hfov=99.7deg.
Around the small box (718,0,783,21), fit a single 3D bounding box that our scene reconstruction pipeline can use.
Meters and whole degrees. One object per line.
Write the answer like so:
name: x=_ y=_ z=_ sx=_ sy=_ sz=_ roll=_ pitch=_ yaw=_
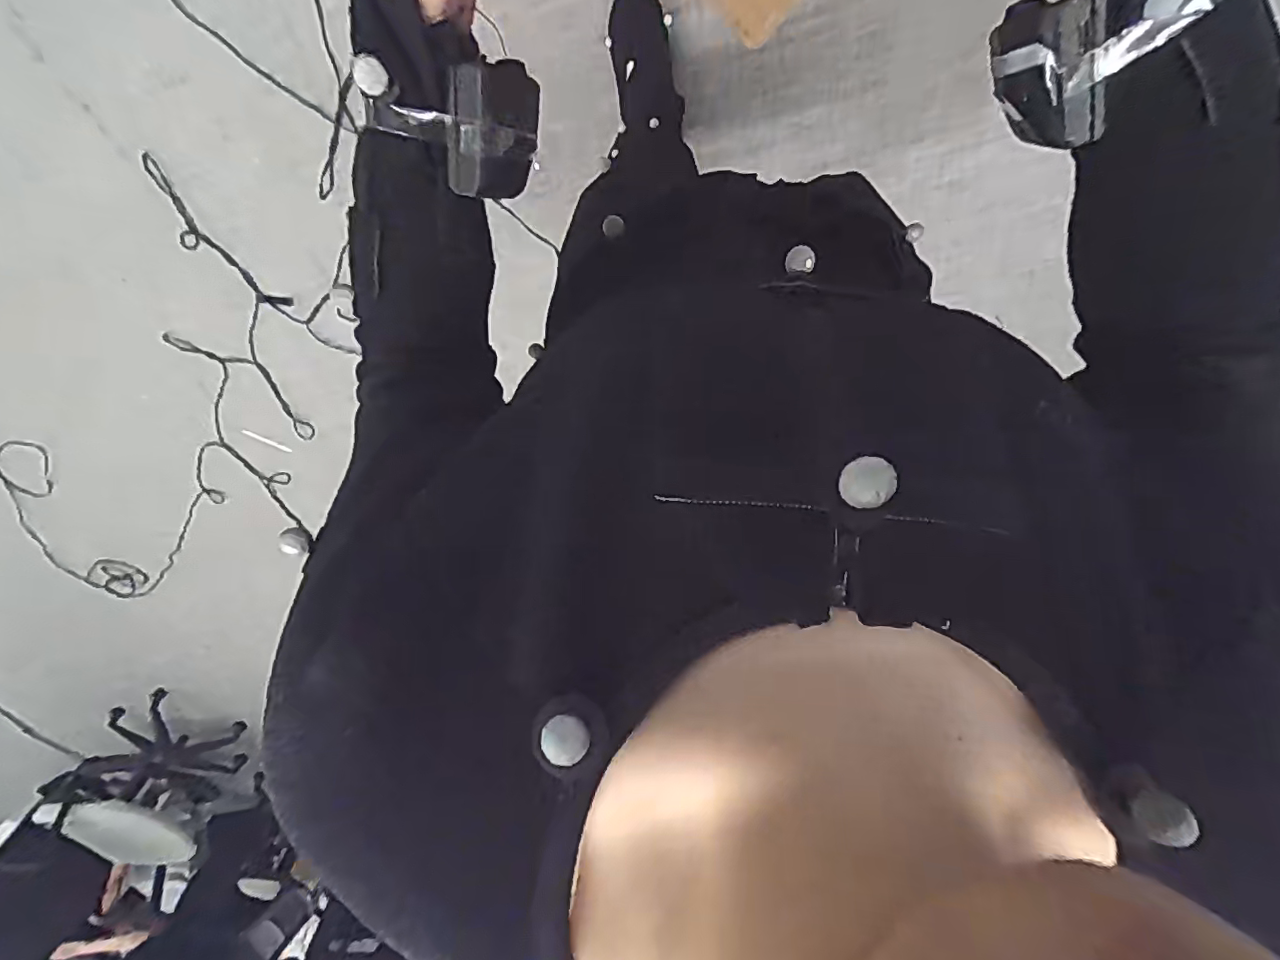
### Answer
small box: x=0.043 y=-0.291 z=0.162 sx=0.168 sy=0.176 sz=0.179 roll=36 pitch=121 yaw=-17
